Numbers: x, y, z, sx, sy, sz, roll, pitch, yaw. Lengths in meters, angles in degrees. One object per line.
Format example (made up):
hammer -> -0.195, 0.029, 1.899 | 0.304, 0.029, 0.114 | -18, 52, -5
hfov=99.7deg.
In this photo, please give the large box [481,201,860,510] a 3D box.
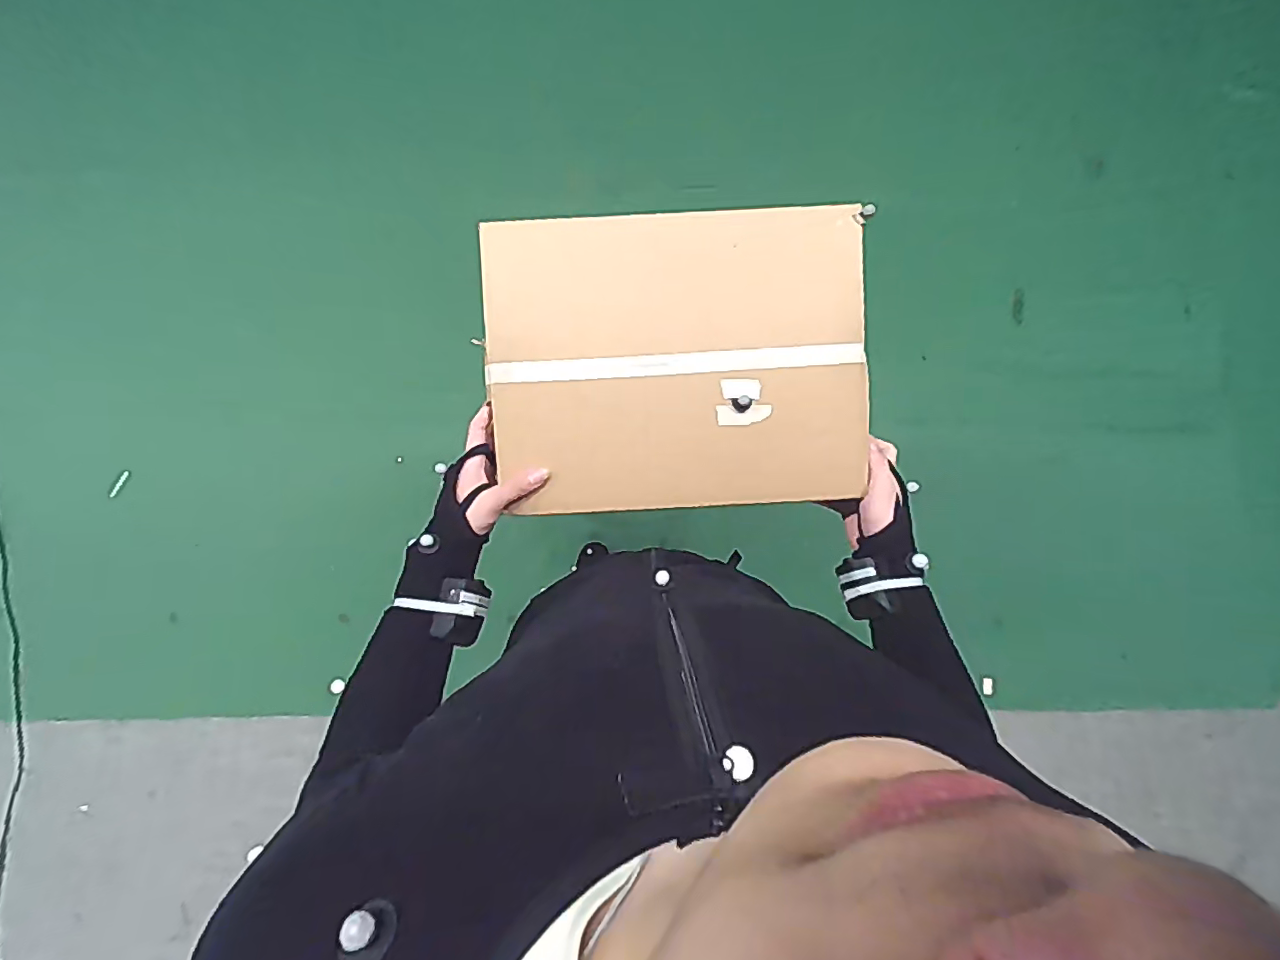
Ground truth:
large box -> 0.033, -0.144, 0.735 | 0.408, 0.320, 0.320 | -4, 95, -1
